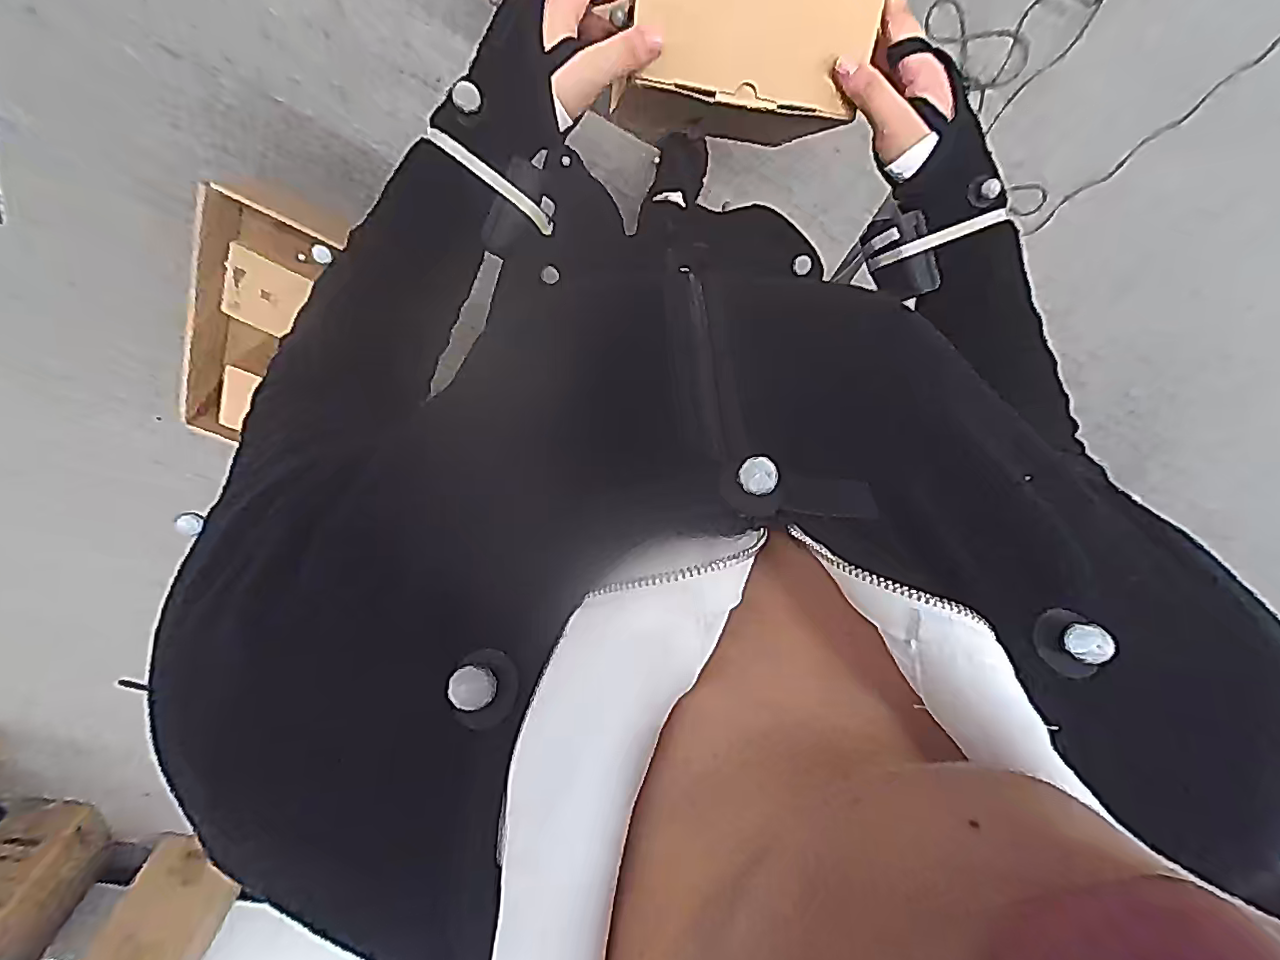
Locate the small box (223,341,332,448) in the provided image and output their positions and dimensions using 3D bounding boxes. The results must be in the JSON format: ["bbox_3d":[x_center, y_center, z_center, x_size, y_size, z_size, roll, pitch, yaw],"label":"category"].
[{"bbox_3d":[-0.911,-0.219,1.368,0.168,0.176,0.179,23,119,-18],"label":"small box"}]

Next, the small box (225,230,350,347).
[{"bbox_3d":[-0.788,-0.438,1.223,0.179,0.176,0.168,24,121,-19],"label":"small box"}]
